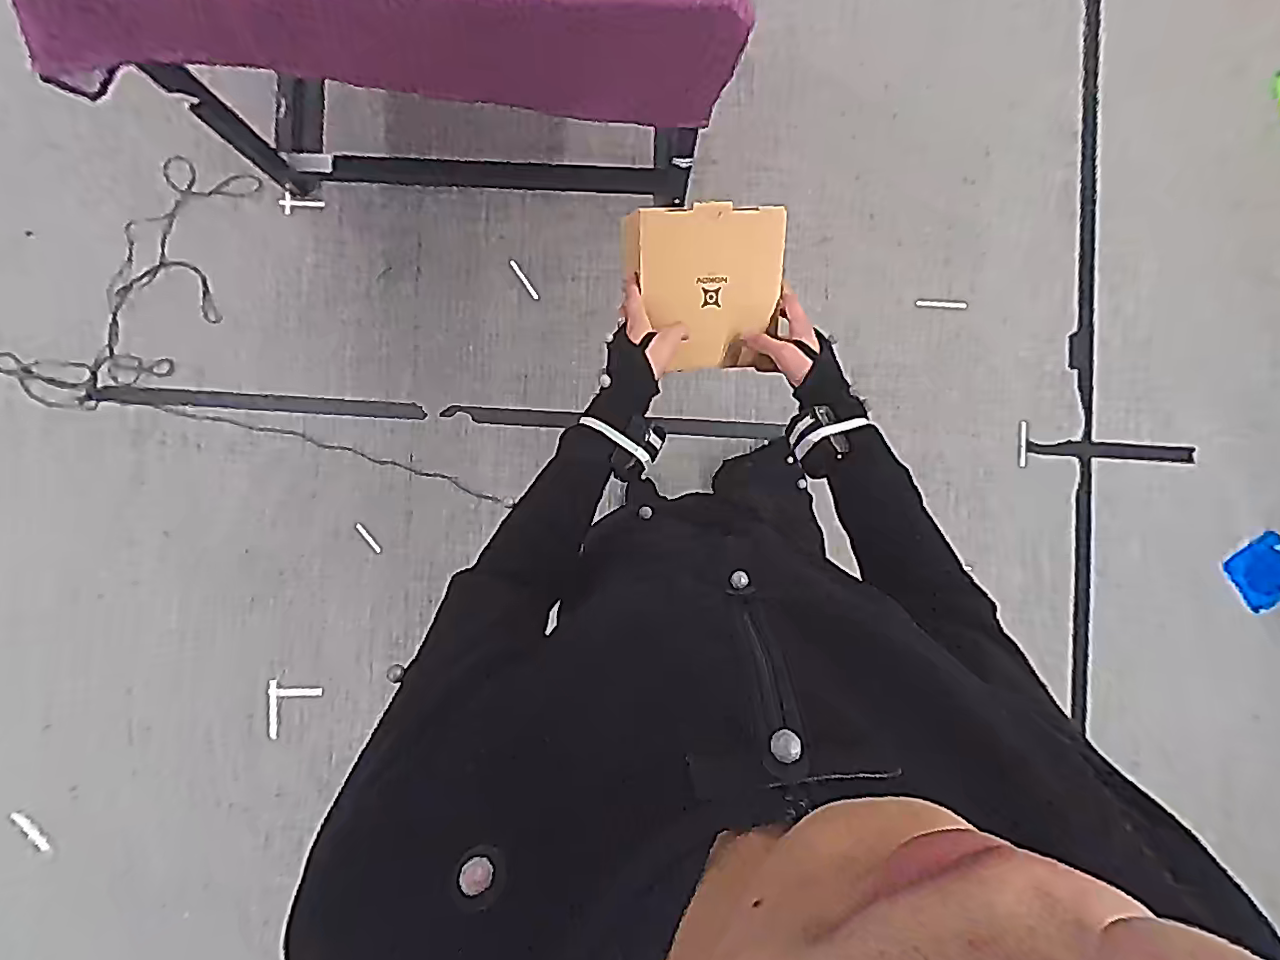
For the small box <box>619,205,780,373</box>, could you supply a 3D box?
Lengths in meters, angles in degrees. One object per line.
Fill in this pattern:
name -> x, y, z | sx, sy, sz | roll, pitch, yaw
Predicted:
small box -> 0.064, -0.241, 0.680 | 0.168, 0.176, 0.179 | -5, 111, -6
